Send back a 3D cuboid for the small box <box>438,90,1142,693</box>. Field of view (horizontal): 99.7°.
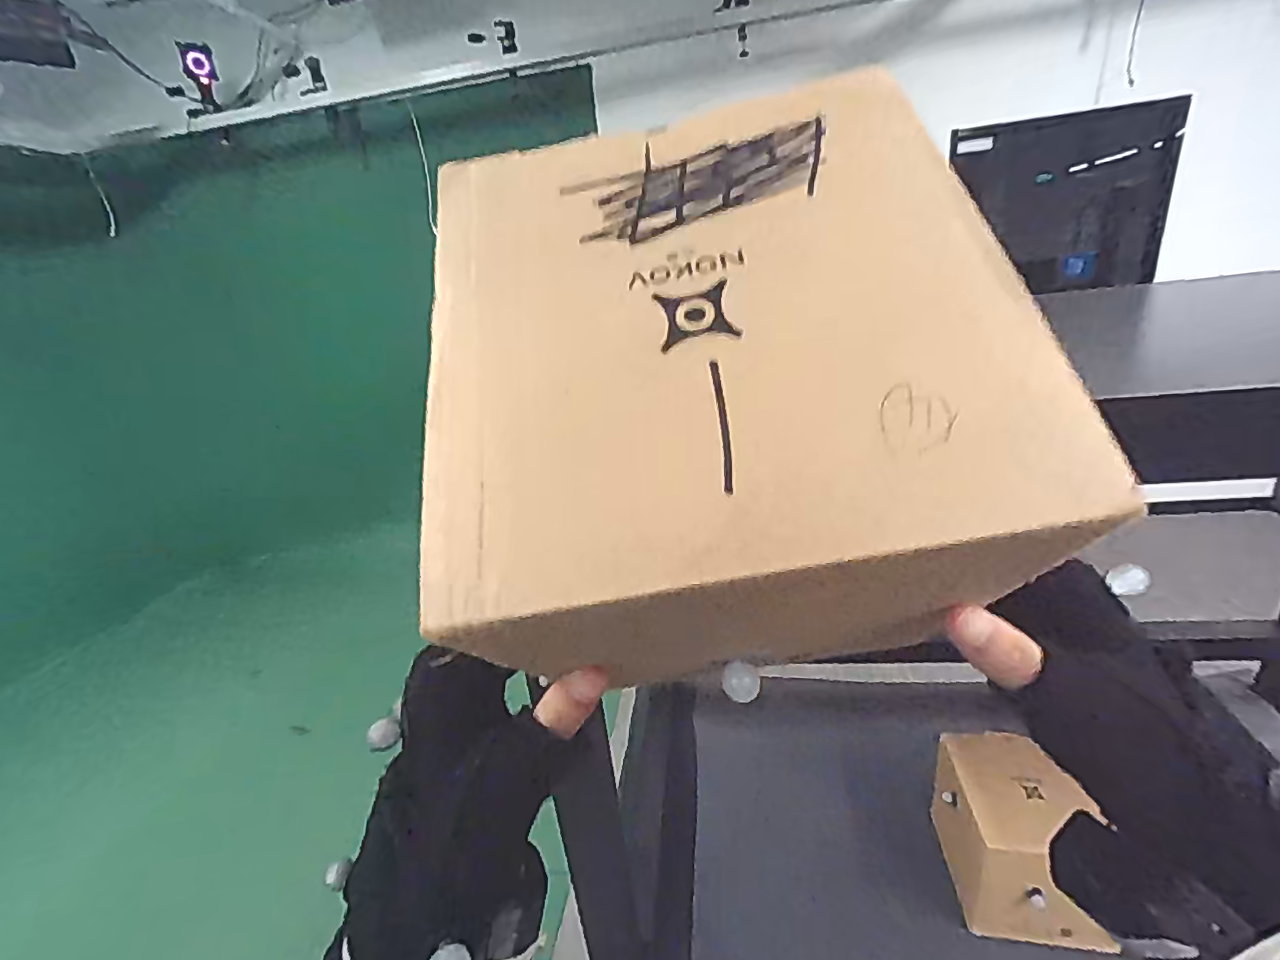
[{"bbox_3d":[0.034,-0.016,0.234,0.168,0.176,0.179,-11,64,6],"label":"small box"}]

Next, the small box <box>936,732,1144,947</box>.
[{"bbox_3d":[0.513,0.473,0.724,0.168,0.176,0.179,-2,21,13],"label":"small box"}]
